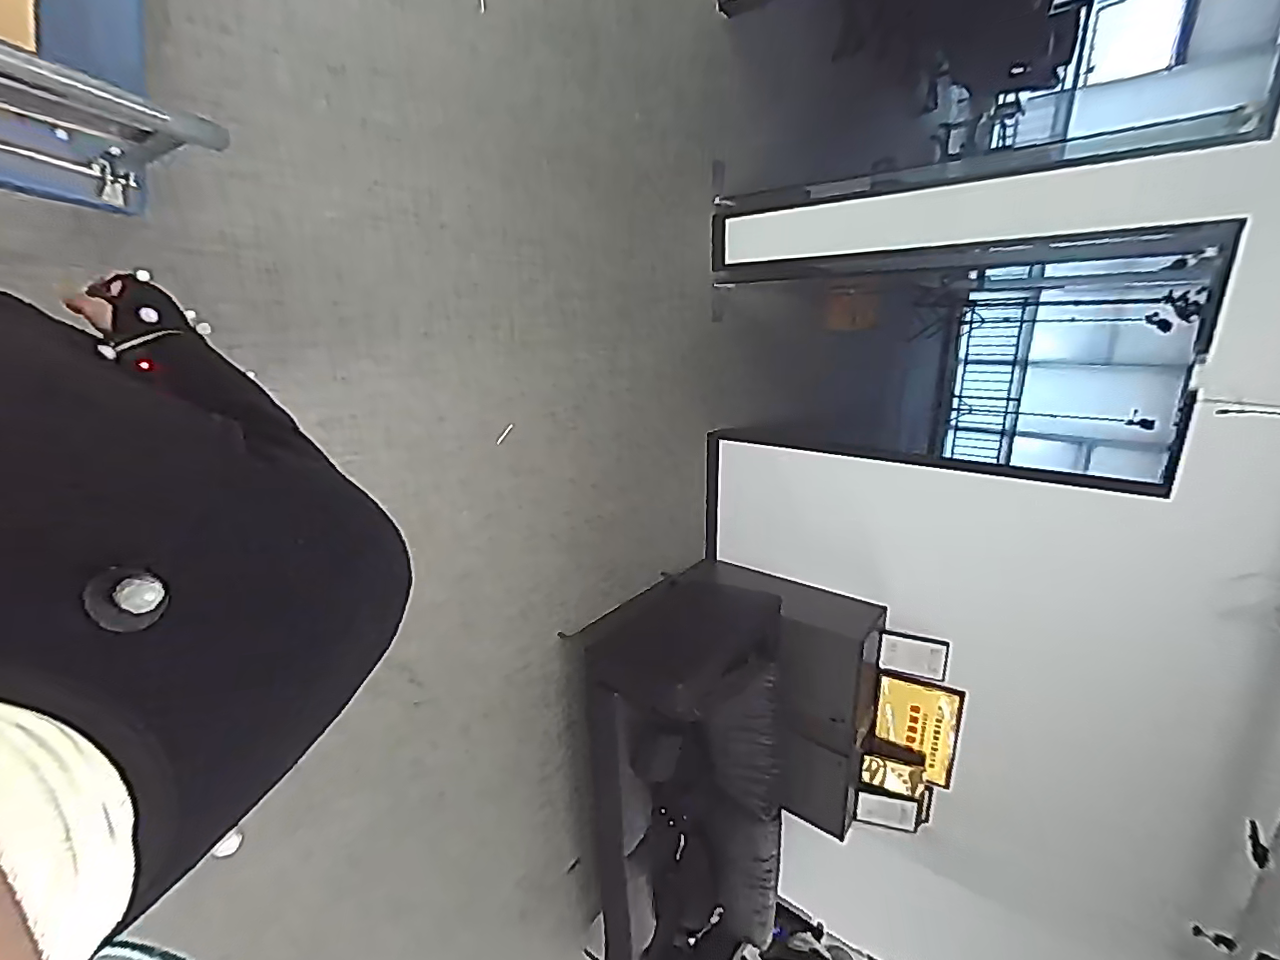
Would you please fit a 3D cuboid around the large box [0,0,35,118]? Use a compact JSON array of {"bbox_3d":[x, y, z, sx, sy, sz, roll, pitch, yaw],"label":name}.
[{"bbox_3d":[-1.038,-0.783,0.697,0.320,0.320,0.408,-3,101,-52],"label":"large box"}]
